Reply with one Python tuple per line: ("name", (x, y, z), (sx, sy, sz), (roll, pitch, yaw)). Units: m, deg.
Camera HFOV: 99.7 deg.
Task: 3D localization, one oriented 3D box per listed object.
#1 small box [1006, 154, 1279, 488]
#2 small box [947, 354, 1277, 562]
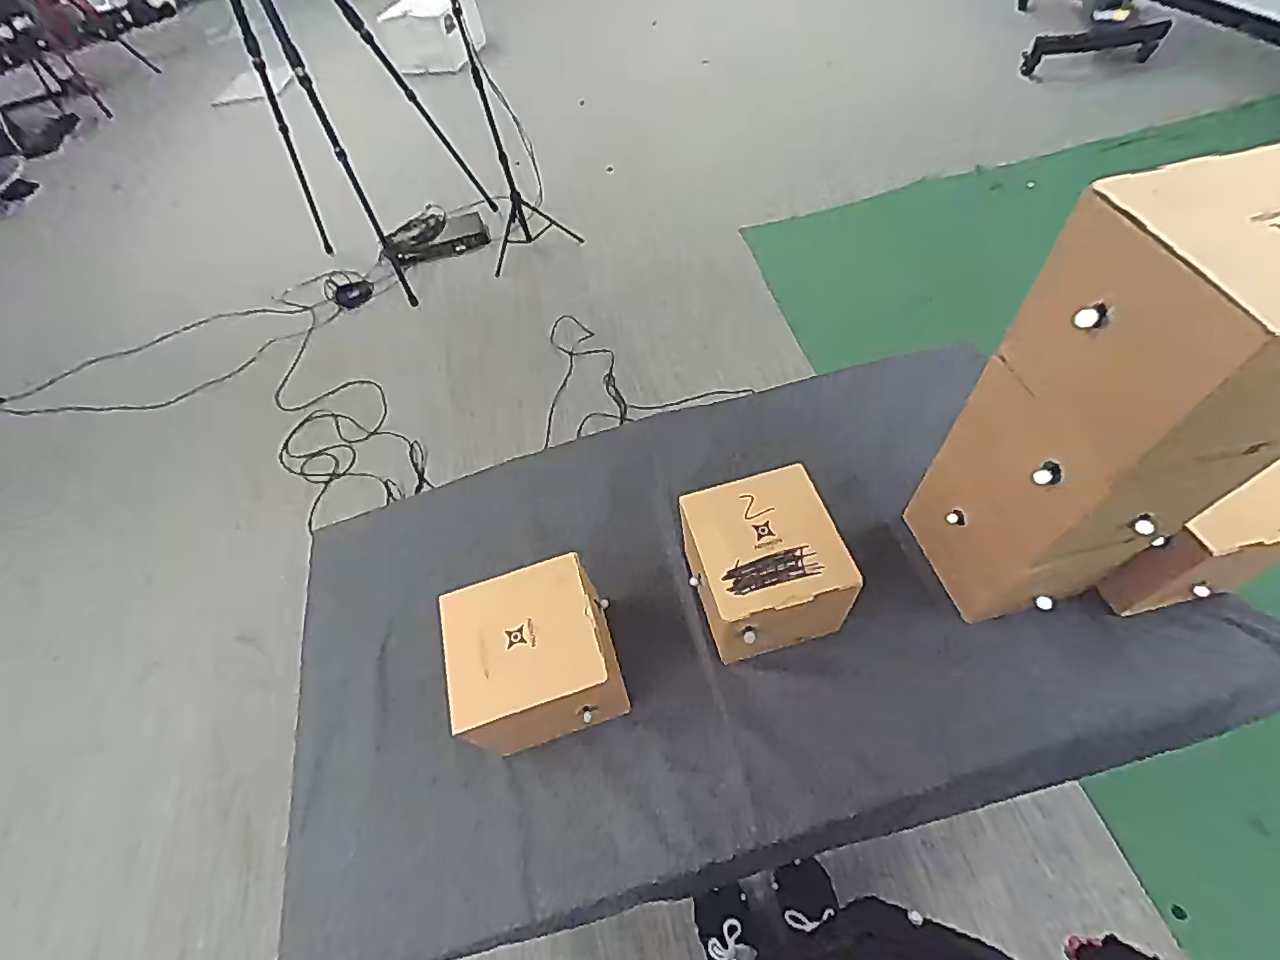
("small box", (0.441, -0.120, 0.430), (0.168, 0.176, 0.179), (-12, 54, 1))
("small box", (0.463, -0.029, 0.565), (0.168, 0.176, 0.179), (-13, 55, 0))
